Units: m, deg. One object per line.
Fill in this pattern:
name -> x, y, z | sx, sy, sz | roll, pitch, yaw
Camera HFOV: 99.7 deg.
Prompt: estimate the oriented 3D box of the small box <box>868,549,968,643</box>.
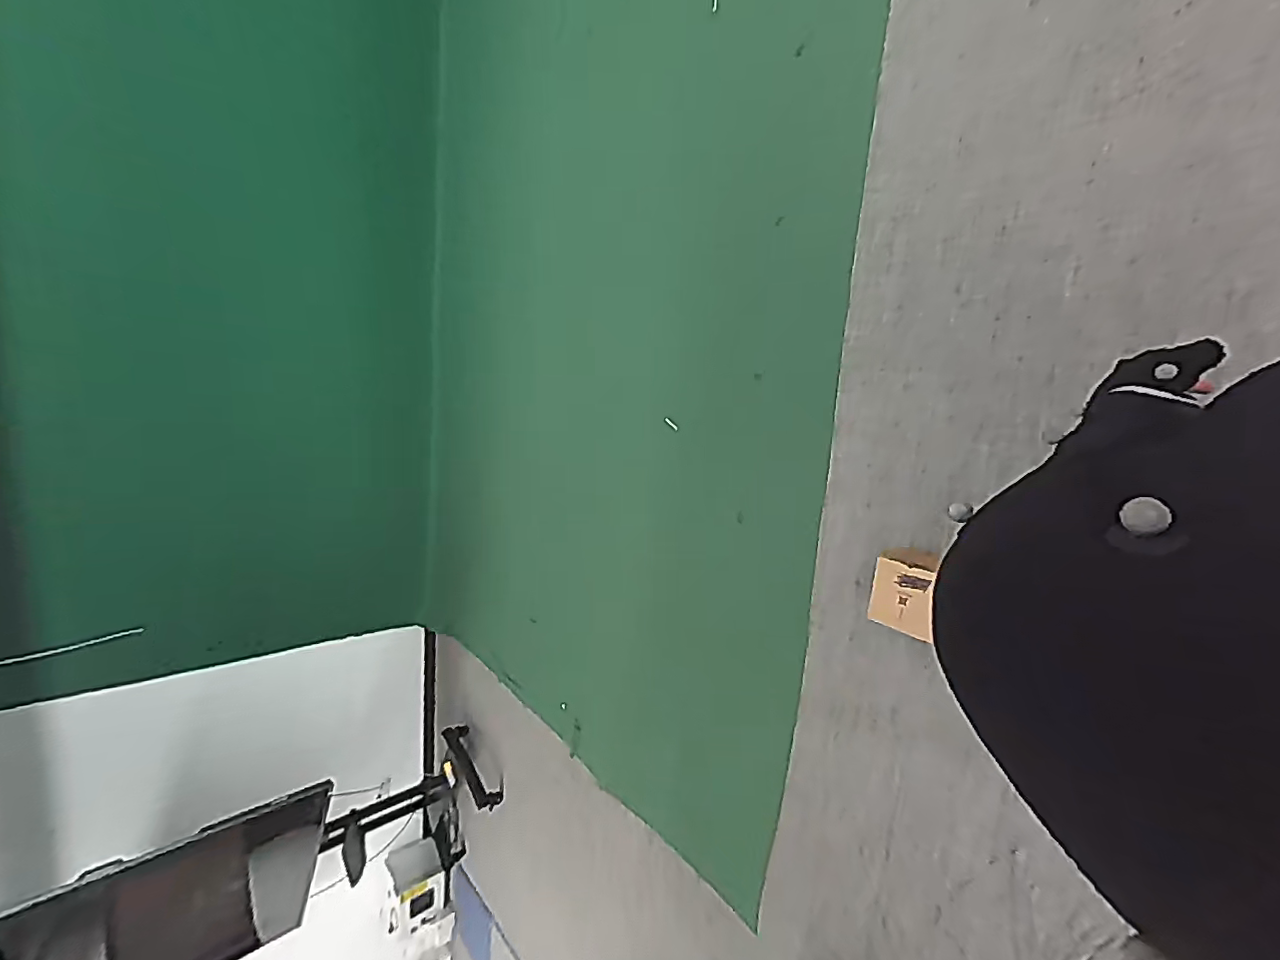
small box -> 0.714, 0.287, 1.384 | 0.168, 0.176, 0.179 | 16, 105, 47
